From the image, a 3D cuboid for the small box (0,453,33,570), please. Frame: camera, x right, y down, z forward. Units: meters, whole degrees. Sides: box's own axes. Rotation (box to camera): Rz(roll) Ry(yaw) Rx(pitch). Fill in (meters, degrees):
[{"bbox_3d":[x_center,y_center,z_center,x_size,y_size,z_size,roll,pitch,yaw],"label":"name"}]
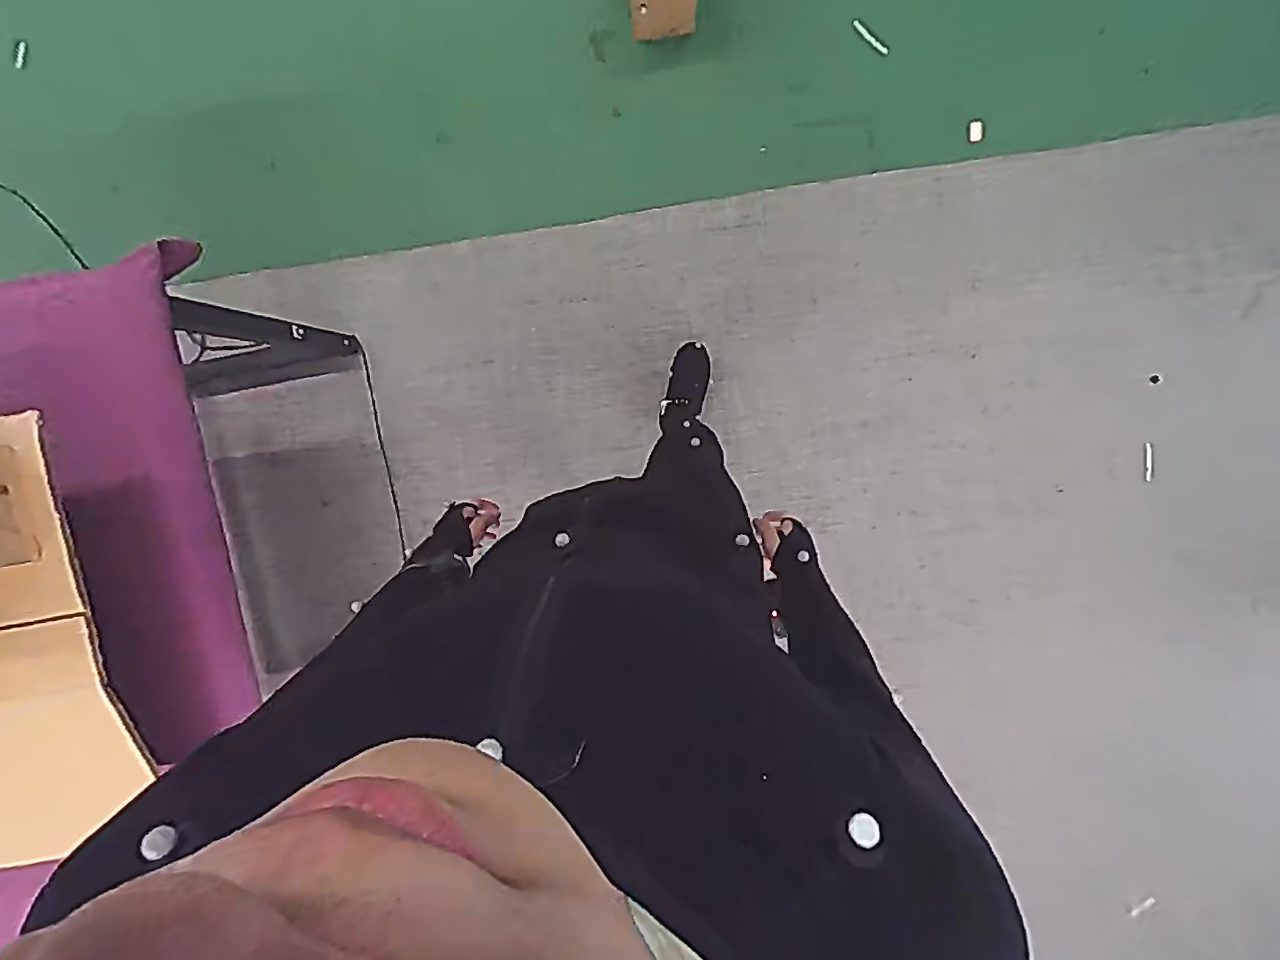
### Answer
[{"bbox_3d":[-0.951,0.059,0.679,0.179,0.176,0.168,-11,94,3],"label":"small box"}]
